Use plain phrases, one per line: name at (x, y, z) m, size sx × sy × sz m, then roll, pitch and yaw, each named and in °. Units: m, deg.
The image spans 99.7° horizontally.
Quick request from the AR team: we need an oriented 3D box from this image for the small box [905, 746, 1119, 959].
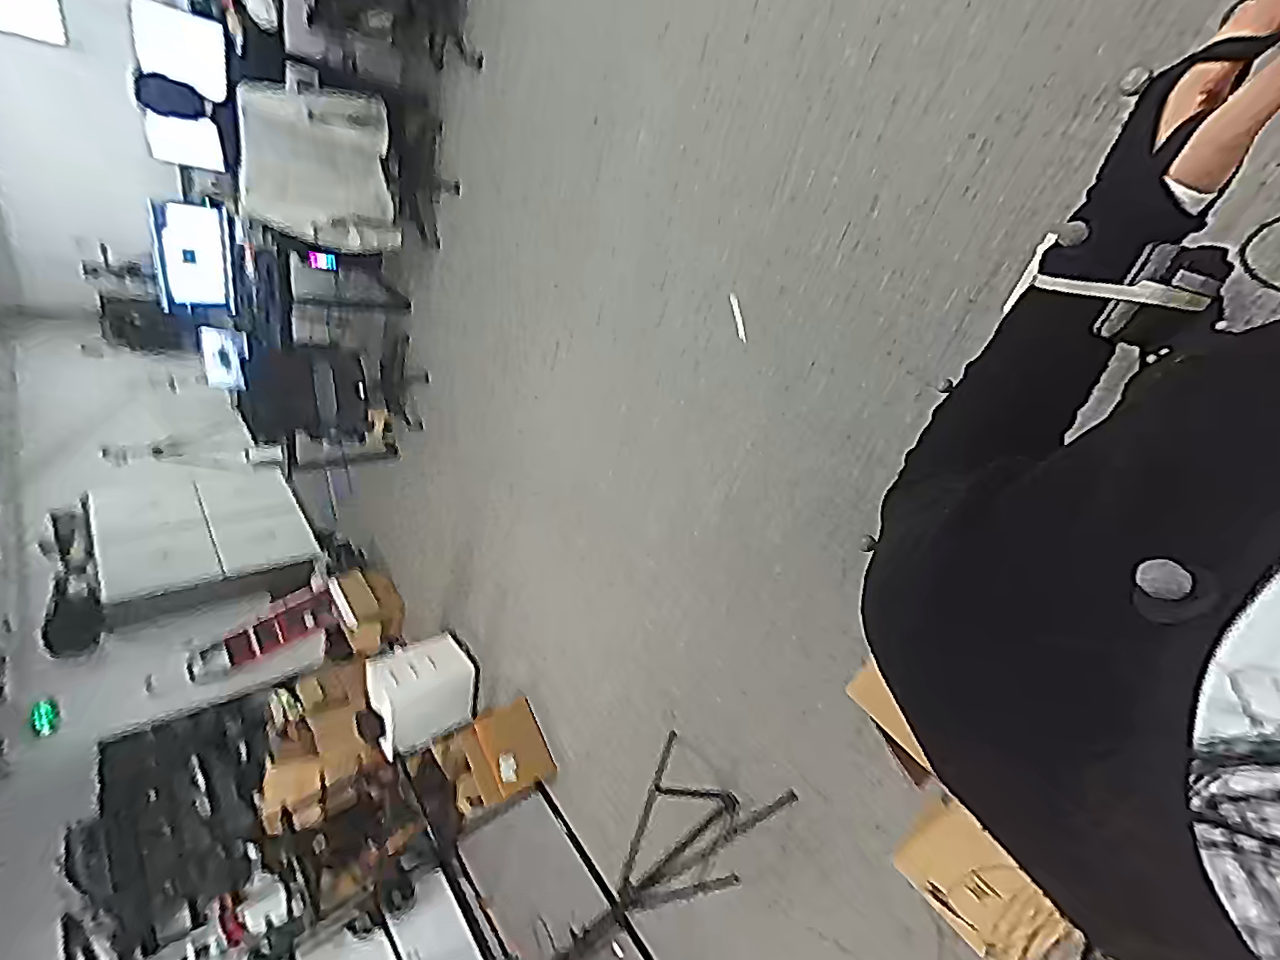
small box at (0.511, 0.512, 0.747) m, size 0.168 × 0.176 × 0.179 m, roll 41°, pitch 123°, yaw 32°
